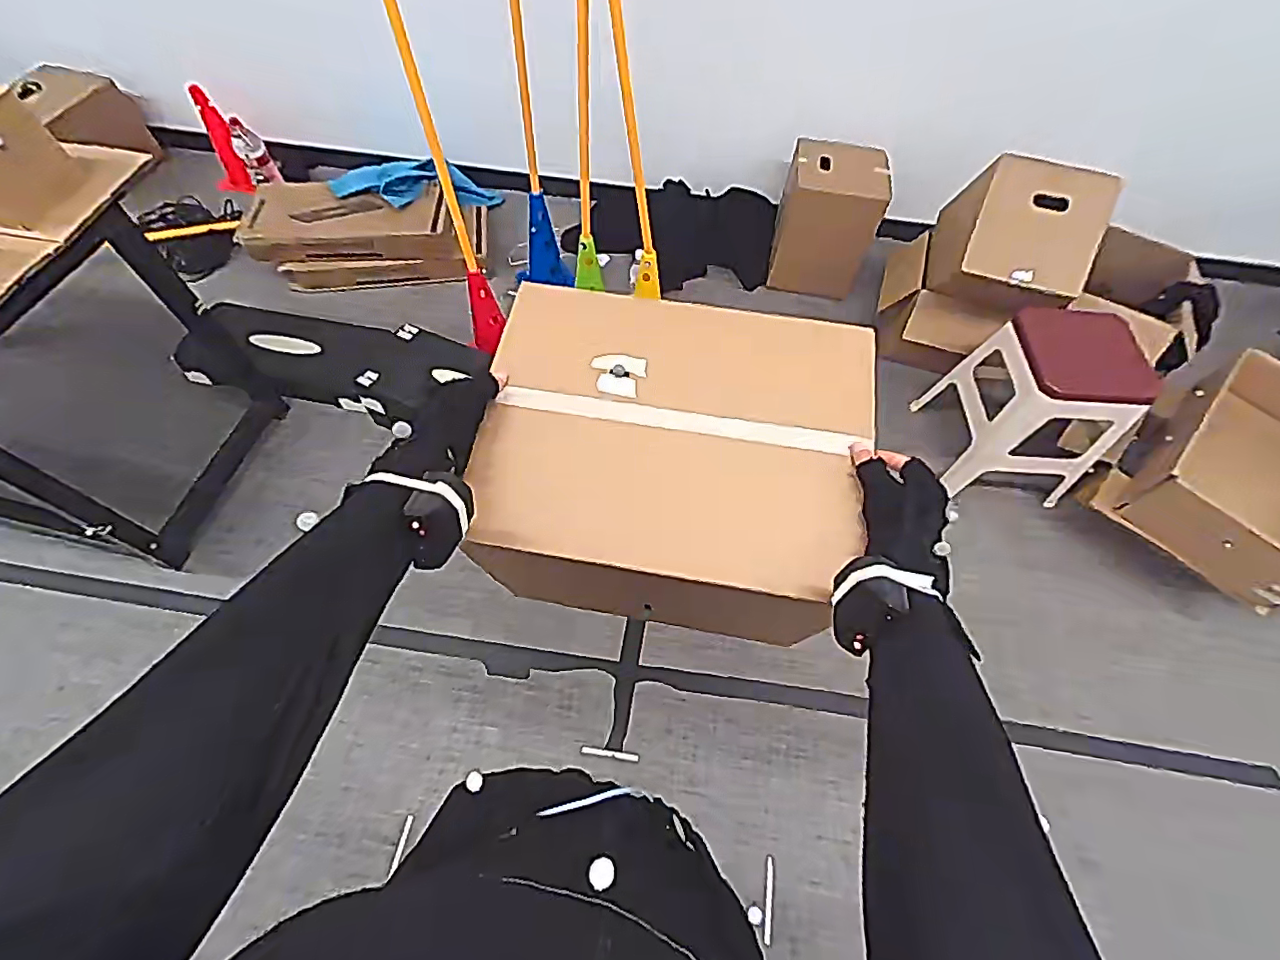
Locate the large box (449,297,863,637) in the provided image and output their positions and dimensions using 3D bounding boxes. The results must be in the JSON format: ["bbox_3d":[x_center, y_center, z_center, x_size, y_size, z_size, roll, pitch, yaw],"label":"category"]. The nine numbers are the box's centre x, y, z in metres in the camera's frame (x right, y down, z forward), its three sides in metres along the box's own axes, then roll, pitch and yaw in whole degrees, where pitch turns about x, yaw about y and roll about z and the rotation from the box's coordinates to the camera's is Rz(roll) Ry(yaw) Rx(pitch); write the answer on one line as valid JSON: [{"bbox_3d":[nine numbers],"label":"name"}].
[{"bbox_3d":[0.037,0.005,0.707,0.408,0.320,0.320,9,67,6],"label":"large box"}]
